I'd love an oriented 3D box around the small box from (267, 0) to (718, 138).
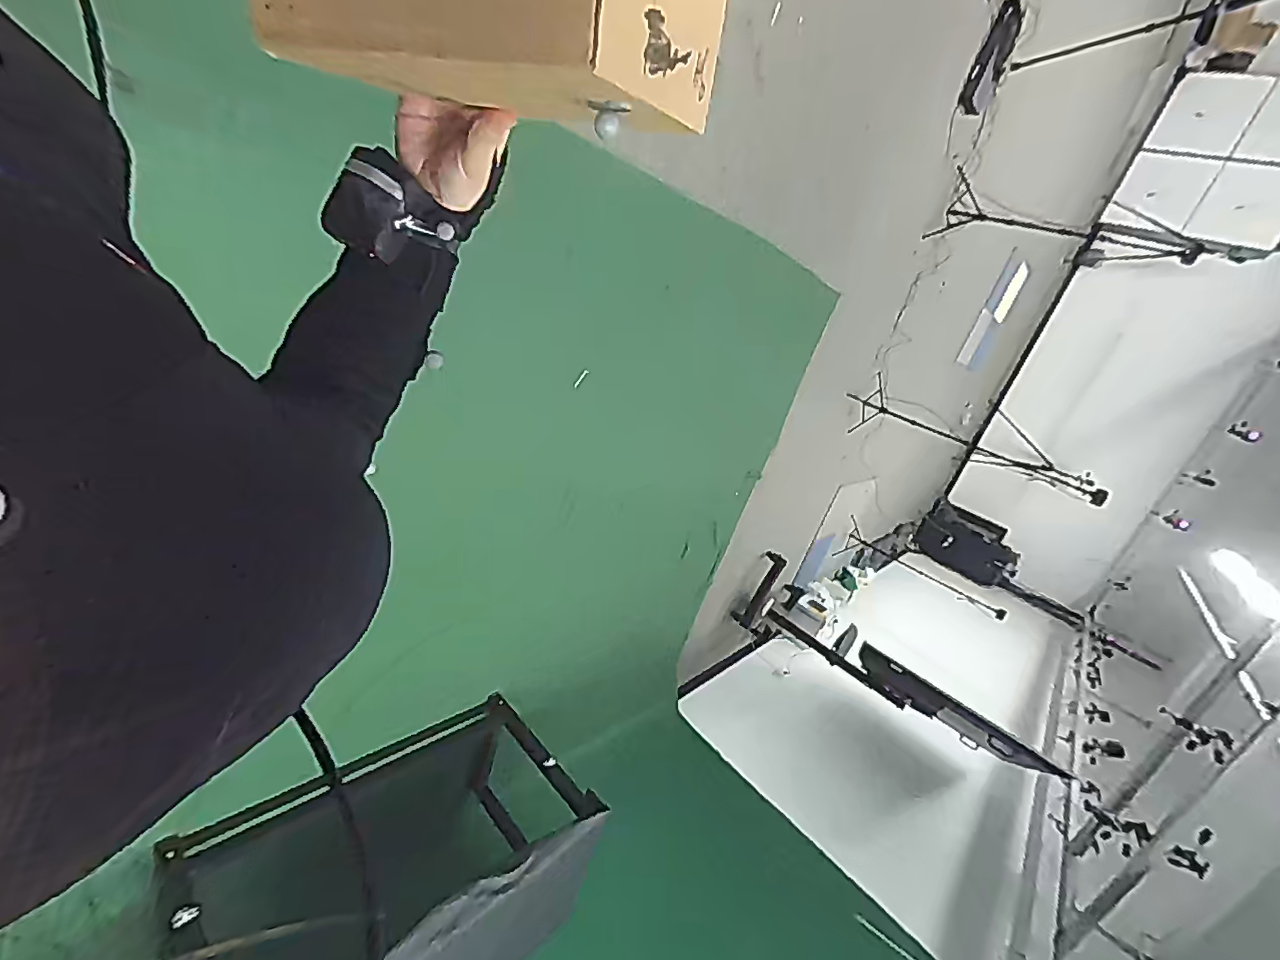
[{"bbox_3d":[-0.059,-0.279,0.256,0.168,0.176,0.179,-50,151,-57],"label":"small box"}]
